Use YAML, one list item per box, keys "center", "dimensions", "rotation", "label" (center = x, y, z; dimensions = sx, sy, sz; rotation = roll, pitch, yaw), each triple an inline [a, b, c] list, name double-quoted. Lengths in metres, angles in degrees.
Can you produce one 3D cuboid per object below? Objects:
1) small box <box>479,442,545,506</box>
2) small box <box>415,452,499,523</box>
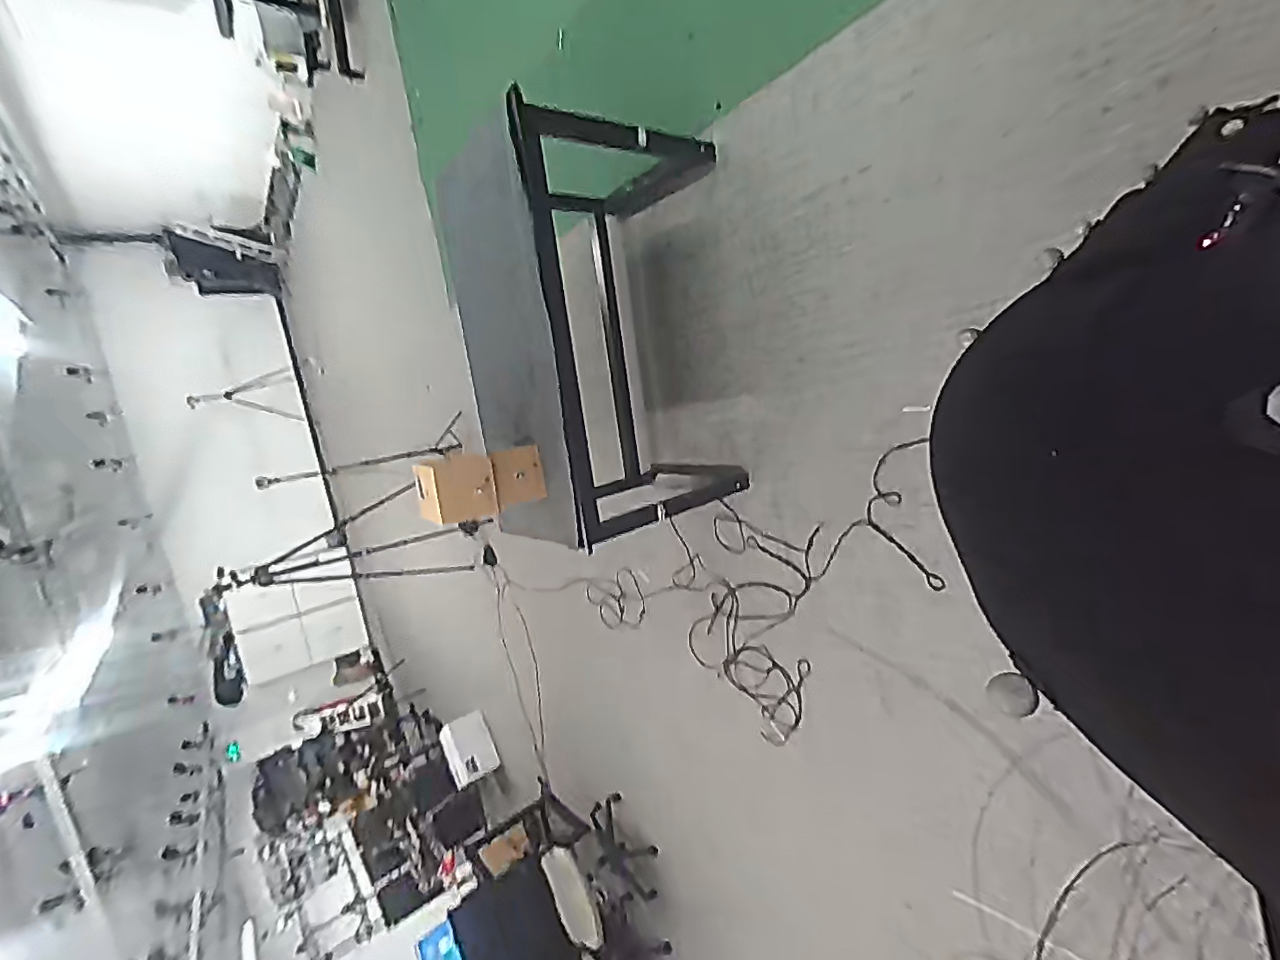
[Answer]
- center: [-0.404, -0.019, 1.654]
  dimensions: [0.179, 0.176, 0.168]
  rotation: [-4, 98, 53]
  label: "small box"
- center: [-0.521, 0.014, 1.543]
  dimensions: [0.179, 0.176, 0.168]
  rotation: [8, 108, 50]
  label: "small box"
